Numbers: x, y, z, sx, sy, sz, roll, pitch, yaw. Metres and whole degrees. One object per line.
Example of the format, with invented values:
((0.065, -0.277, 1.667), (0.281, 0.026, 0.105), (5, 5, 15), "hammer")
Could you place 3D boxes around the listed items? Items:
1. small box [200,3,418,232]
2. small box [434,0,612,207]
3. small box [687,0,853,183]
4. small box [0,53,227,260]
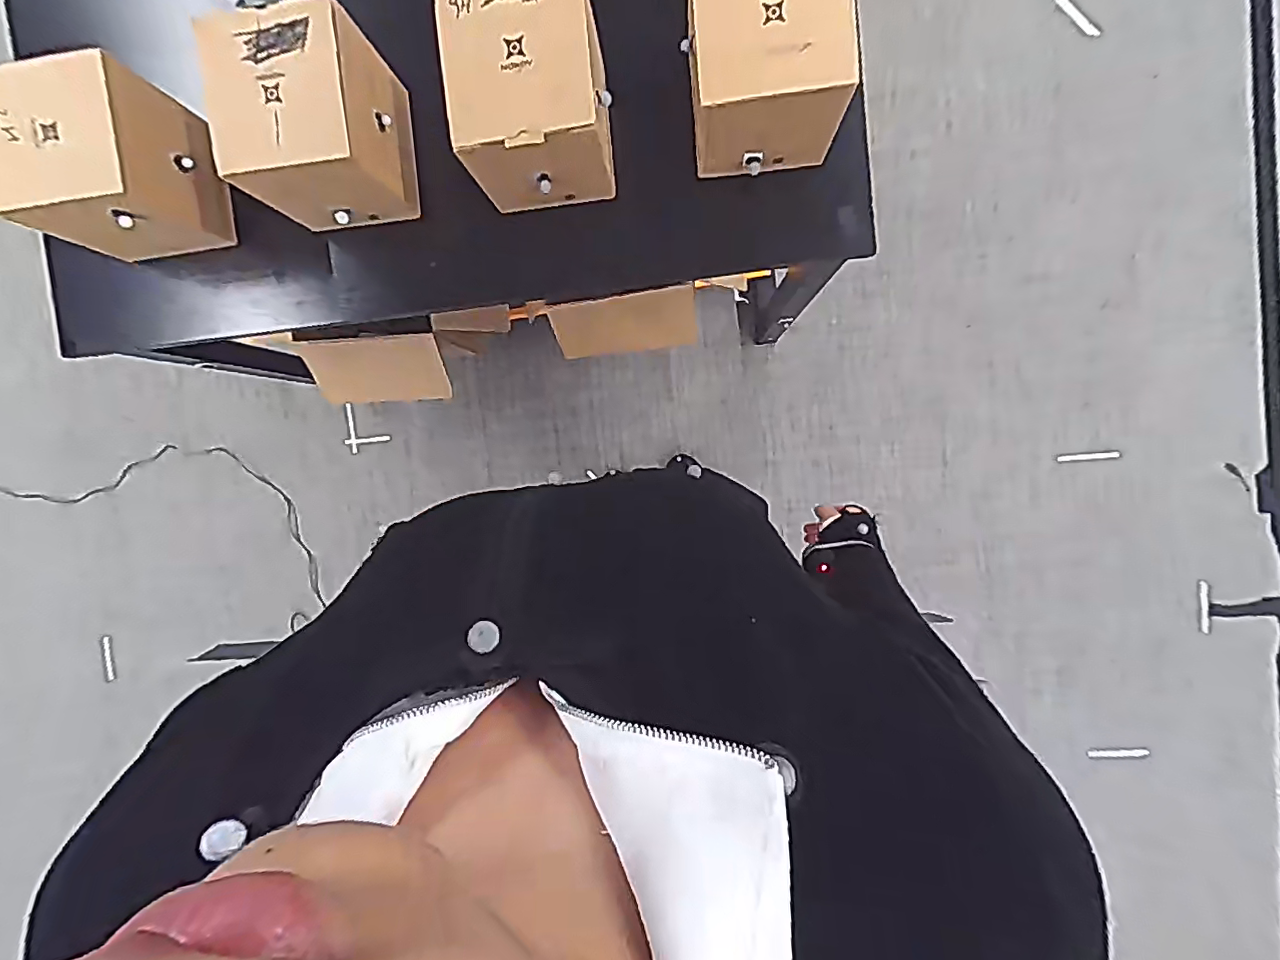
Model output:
((-0.406, -0.444, 0.691), (0.168, 0.176, 0.179), (-5, 94, 5), "small box")
((-0.132, -0.460, 0.670), (0.168, 0.176, 0.179), (-5, 93, 5), "small box")
((0.143, -0.492, 0.647), (0.168, 0.176, 0.179), (-5, 93, 6), "small box")
((-0.688, -0.408, 0.713), (0.179, 0.176, 0.168), (-6, 92, 4), "small box")
